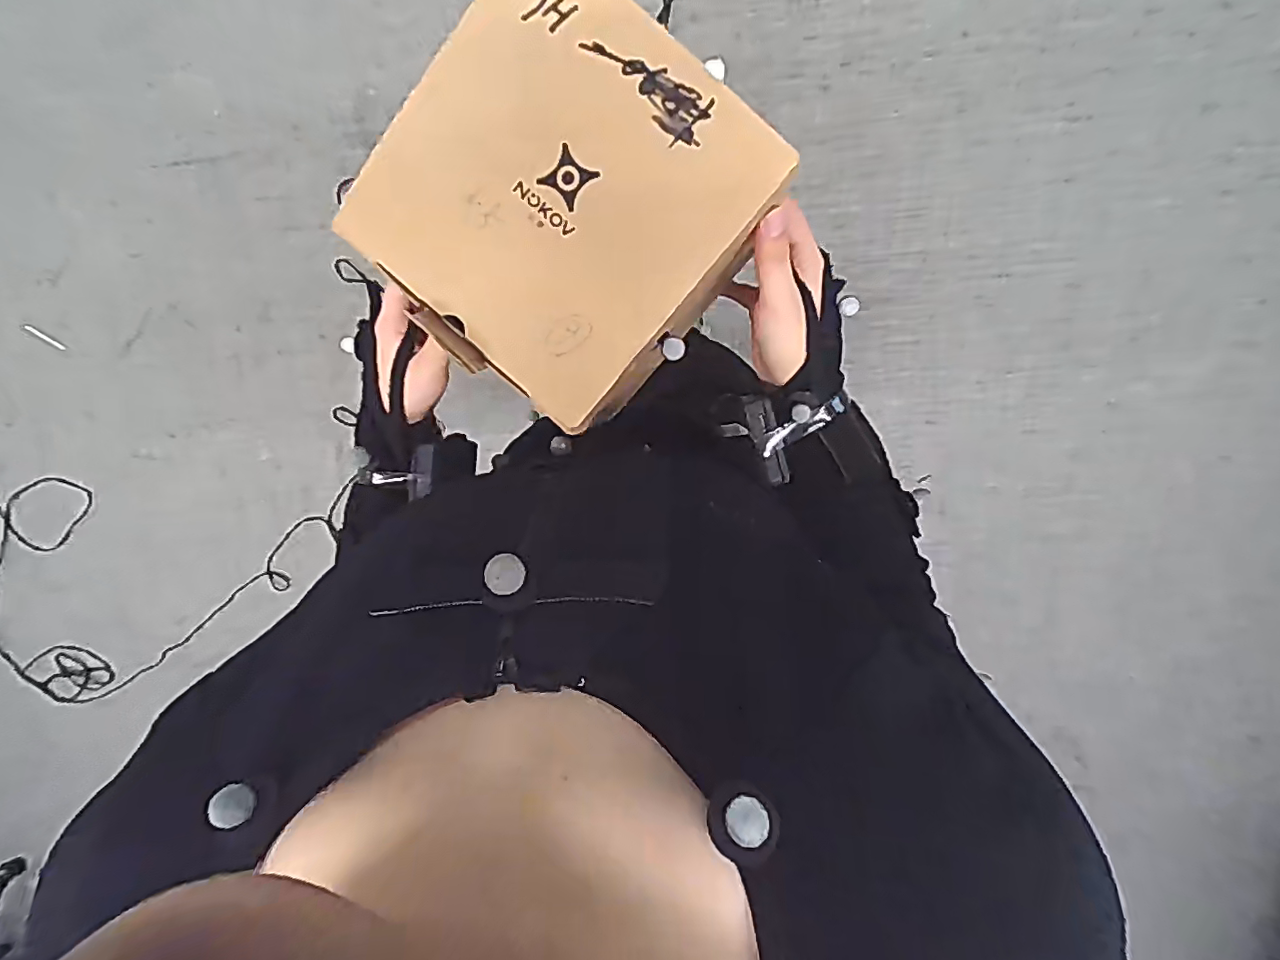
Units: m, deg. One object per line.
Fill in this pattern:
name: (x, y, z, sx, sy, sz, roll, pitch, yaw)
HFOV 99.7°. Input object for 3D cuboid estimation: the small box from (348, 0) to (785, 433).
small box: (-0.034, -0.152, 0.355, 0.168, 0.176, 0.179, 41, 100, -3)
